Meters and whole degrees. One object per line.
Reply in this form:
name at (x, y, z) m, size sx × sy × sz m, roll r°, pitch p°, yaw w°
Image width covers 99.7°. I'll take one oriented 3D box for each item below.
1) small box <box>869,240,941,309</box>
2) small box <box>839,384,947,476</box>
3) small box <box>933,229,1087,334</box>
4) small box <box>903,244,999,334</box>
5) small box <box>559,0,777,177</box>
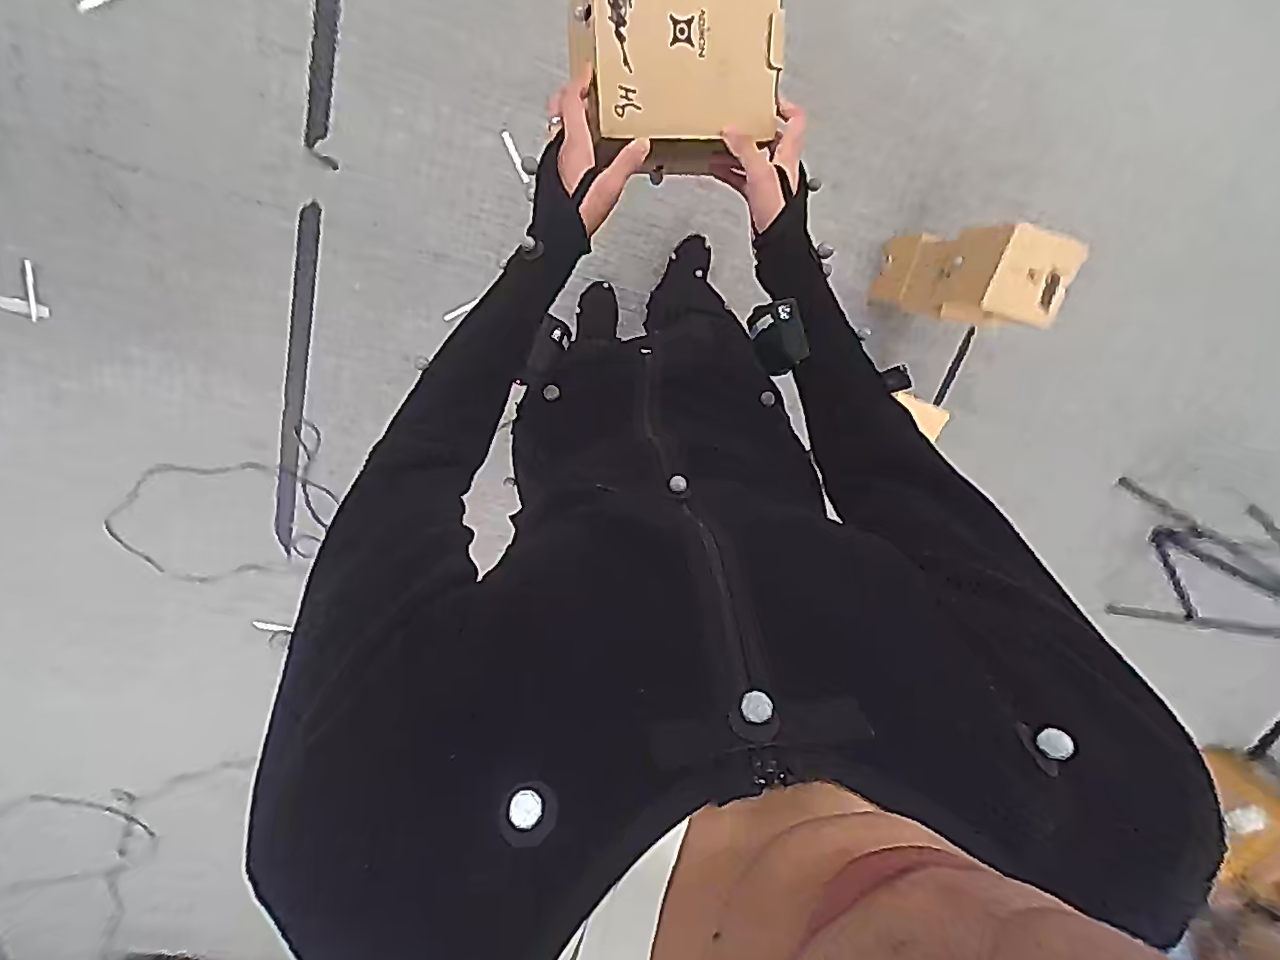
small box at (0.765, -0.547, 1.468) m, size 0.179 × 0.176 × 0.168 m, roll 10°, pitch 111°, yaw -11°
small box at (0.668, -0.140, 1.453) m, size 0.168 × 0.176 × 0.179 m, roll 18°, pitch 110°, yaw -14°
small box at (0.783, -0.427, 1.163) m, size 0.179 × 0.176 × 0.168 m, roll 13°, pitch 109°, yaw -11°
small box at (0.783, -0.471, 1.324) m, size 0.168 × 0.176 × 0.179 m, roll 9°, pitch 111°, yaw -10°
small box at (0.020, -0.418, 0.549) m, size 0.179 × 0.176 × 0.168 m, roll -7°, pitch 110°, yaw -12°
